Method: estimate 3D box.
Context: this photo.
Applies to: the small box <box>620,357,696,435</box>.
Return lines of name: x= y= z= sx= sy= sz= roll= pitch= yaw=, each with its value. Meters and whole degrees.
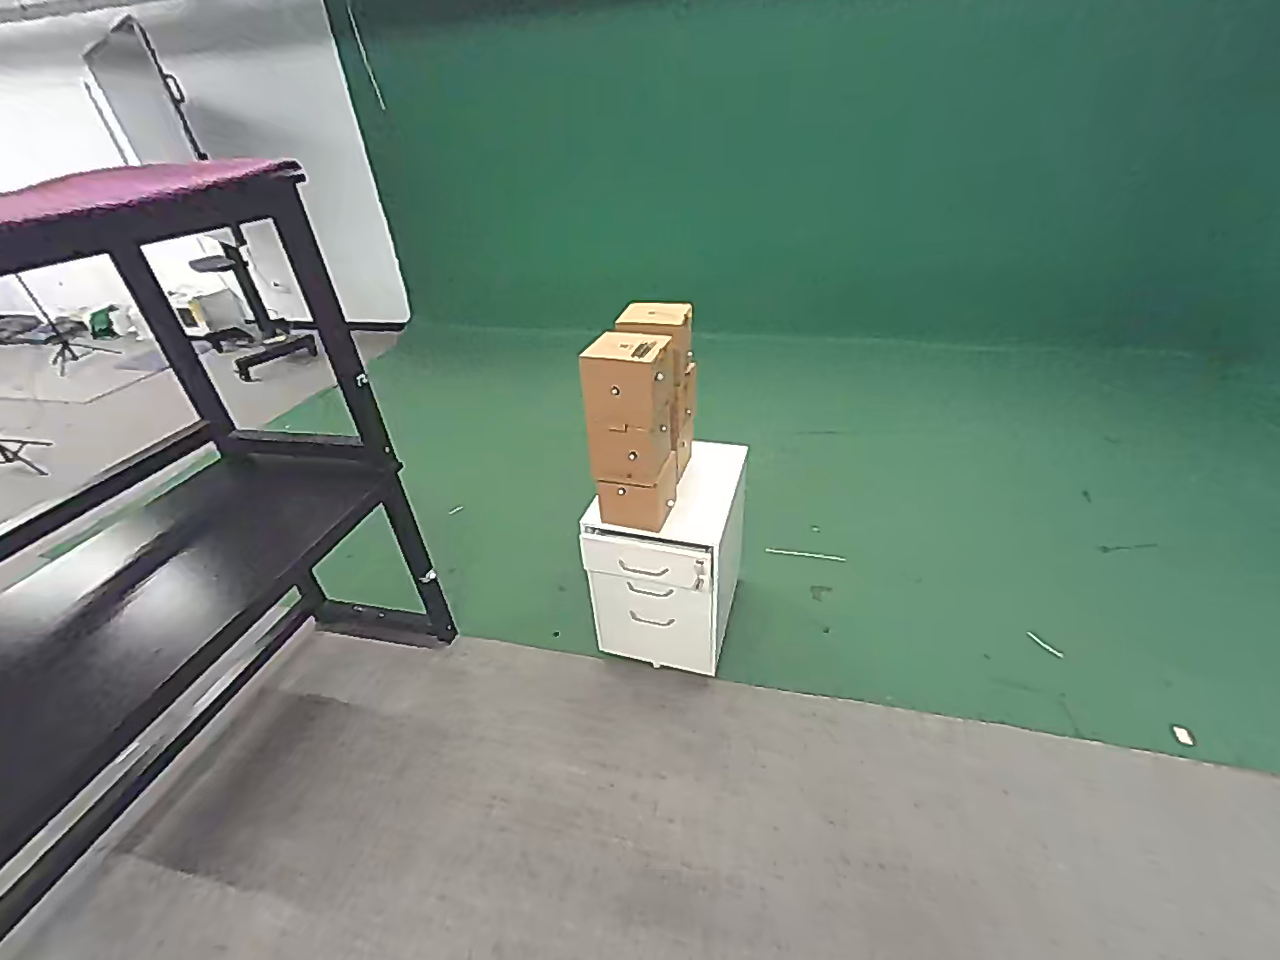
small box: x=0.057 y=-0.246 z=1.577 sx=0.179 sy=0.176 sz=0.168 roll=10 pitch=37 yaw=19

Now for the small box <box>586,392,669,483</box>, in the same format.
small box: x=-0.023 y=-0.109 z=1.382 sx=0.168 sy=0.176 sz=0.179 roll=8 pitch=35 yaw=16

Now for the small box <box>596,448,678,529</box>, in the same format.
small box: x=-0.003 y=0.016 z=1.484 sx=0.179 sy=0.176 sz=0.168 roll=10 pitch=36 yaw=18
